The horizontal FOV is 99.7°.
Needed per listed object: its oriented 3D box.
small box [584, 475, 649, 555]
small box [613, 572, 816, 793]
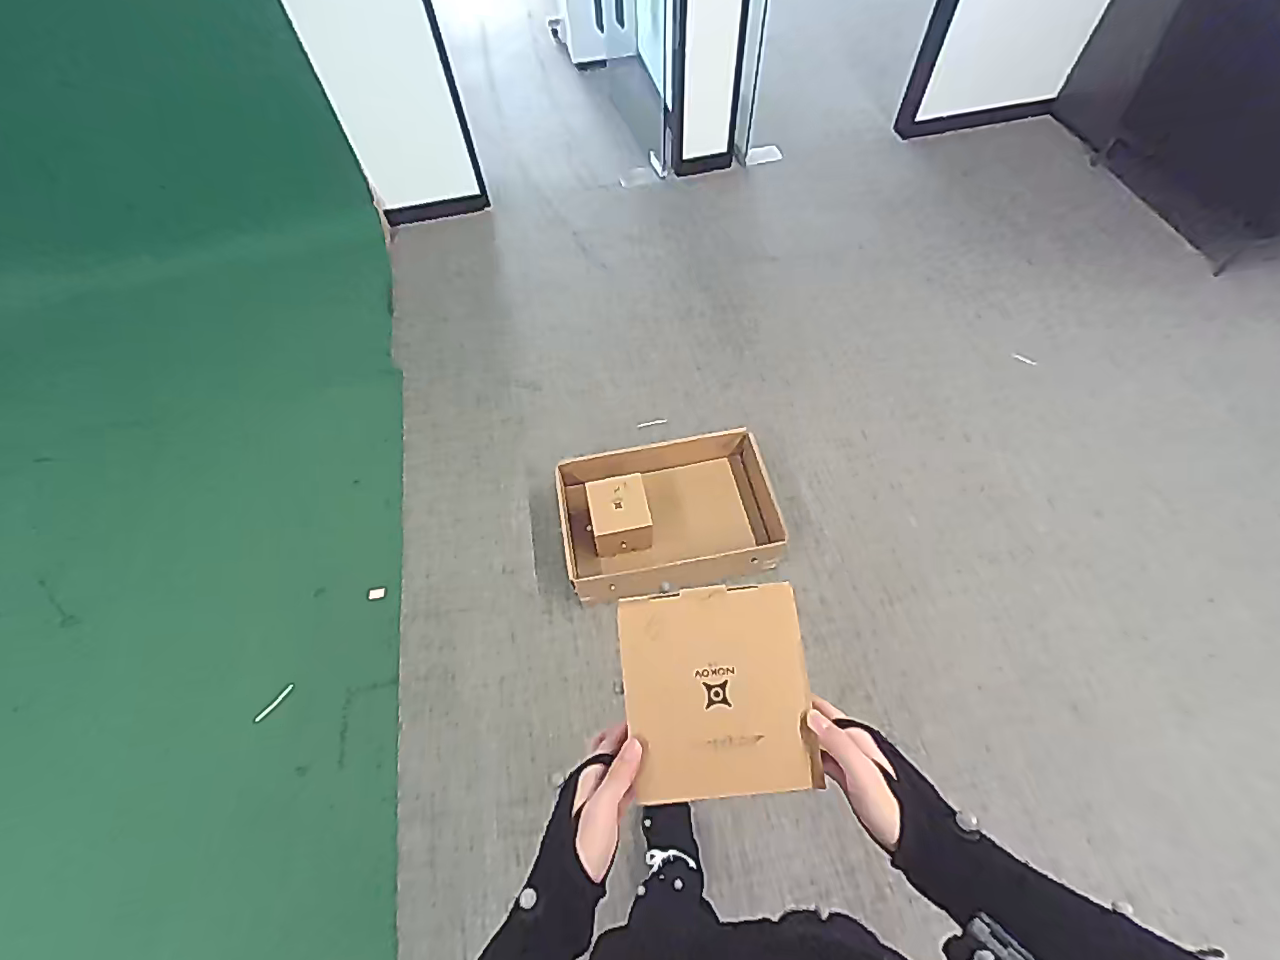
[{"bbox_3d":[-0.066,0.110,1.592,0.168,0.176,0.179,-10,59,-5],"label":"small box"},{"bbox_3d":[0.065,0.196,0.555,0.168,0.176,0.179,-6,76,2],"label":"small box"}]
